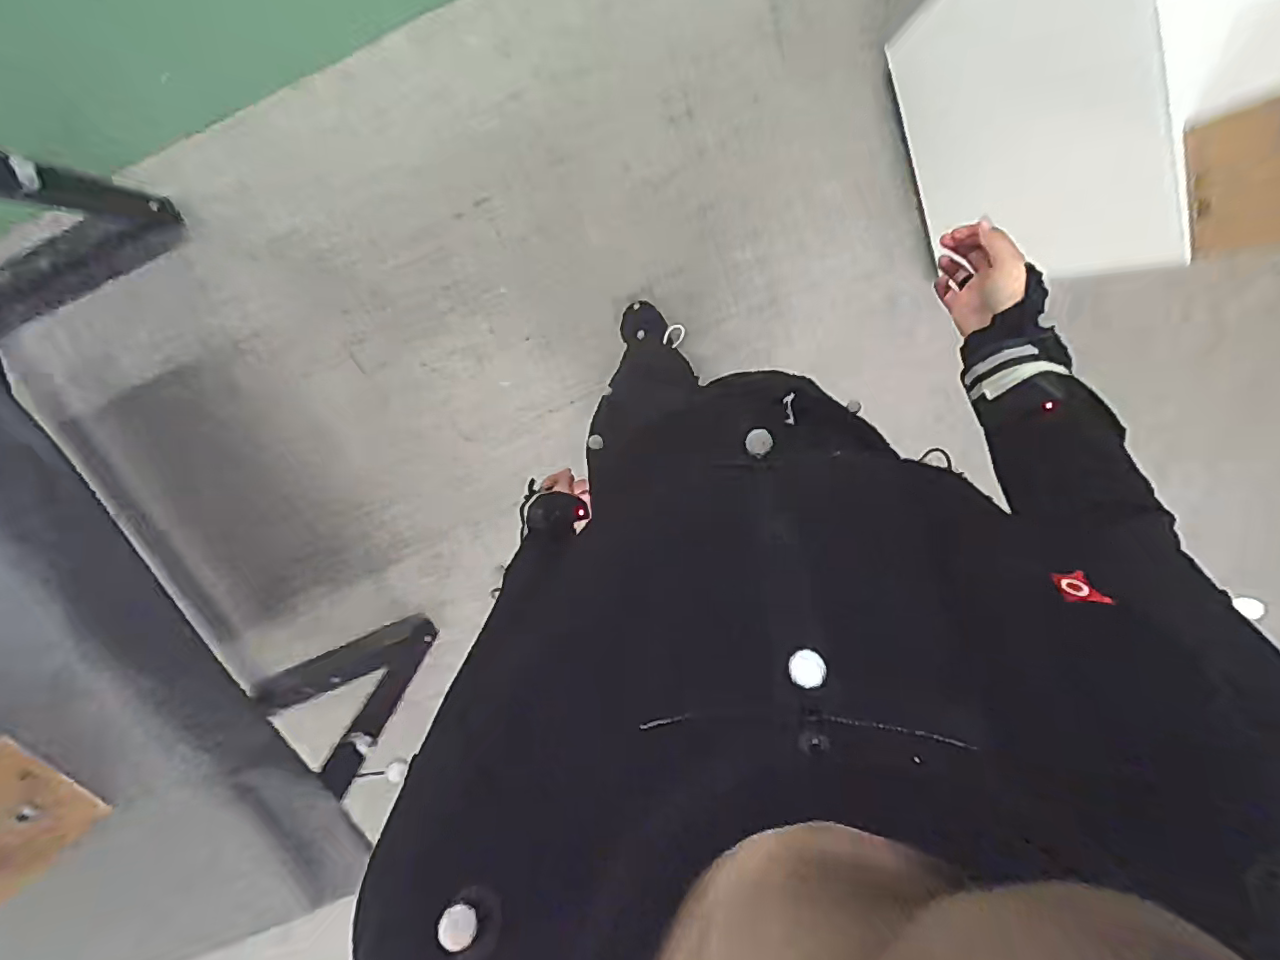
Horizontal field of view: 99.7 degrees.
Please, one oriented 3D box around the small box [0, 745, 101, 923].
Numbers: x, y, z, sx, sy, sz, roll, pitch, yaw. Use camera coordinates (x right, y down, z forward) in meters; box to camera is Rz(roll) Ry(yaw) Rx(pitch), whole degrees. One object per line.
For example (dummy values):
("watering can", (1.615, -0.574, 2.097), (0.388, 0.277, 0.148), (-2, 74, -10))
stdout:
("small box", (-0.803, 0.455, 0.622), (0.179, 0.176, 0.168), (-40, 103, 8))
